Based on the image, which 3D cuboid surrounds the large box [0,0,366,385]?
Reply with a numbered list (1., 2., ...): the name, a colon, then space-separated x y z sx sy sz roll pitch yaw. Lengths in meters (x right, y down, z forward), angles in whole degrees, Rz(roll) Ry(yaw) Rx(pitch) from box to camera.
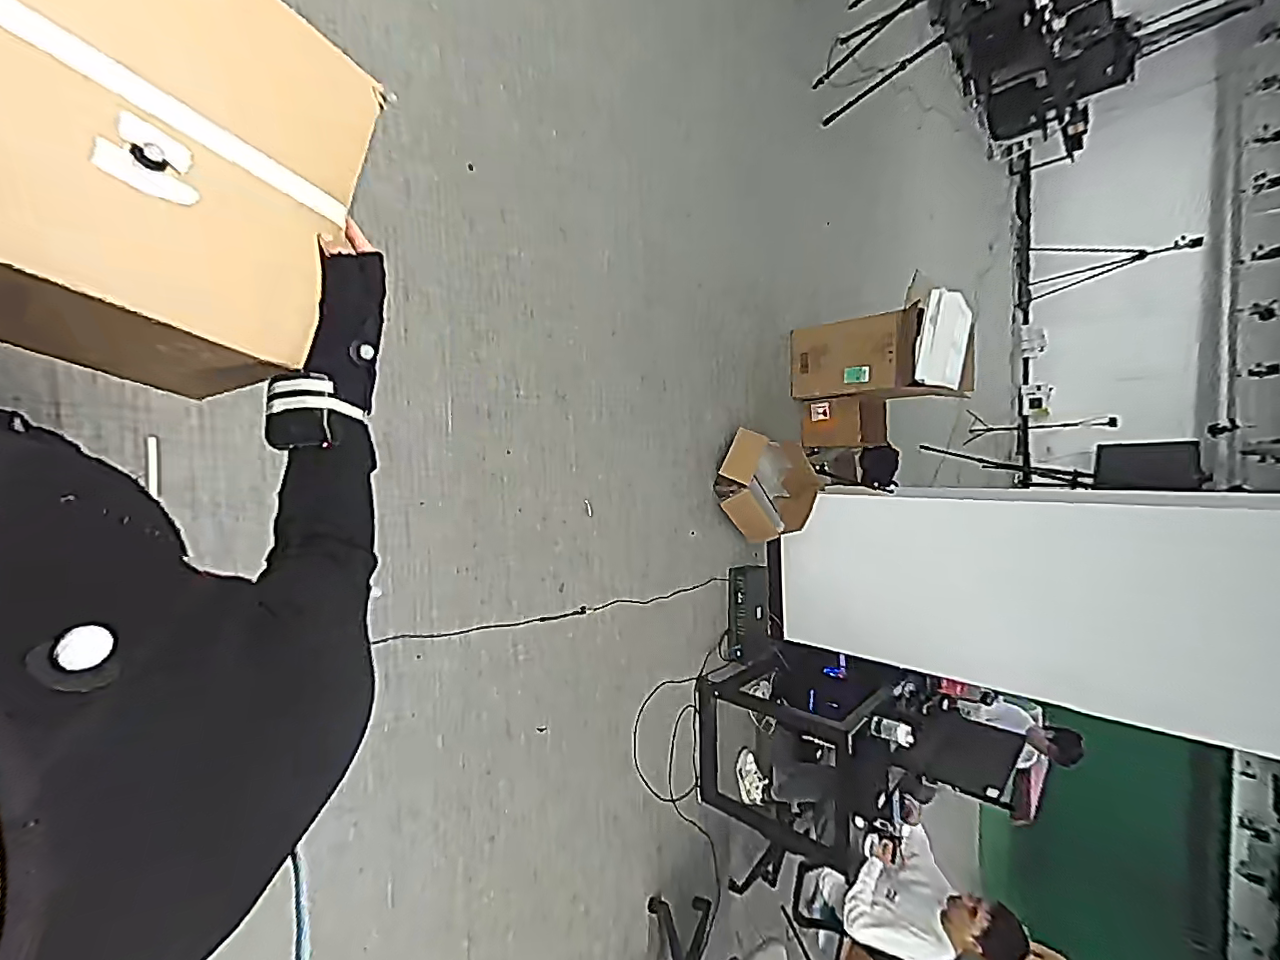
1. large box: -0.533 -0.307 0.459 0.408 0.320 0.320 22 74 -51
